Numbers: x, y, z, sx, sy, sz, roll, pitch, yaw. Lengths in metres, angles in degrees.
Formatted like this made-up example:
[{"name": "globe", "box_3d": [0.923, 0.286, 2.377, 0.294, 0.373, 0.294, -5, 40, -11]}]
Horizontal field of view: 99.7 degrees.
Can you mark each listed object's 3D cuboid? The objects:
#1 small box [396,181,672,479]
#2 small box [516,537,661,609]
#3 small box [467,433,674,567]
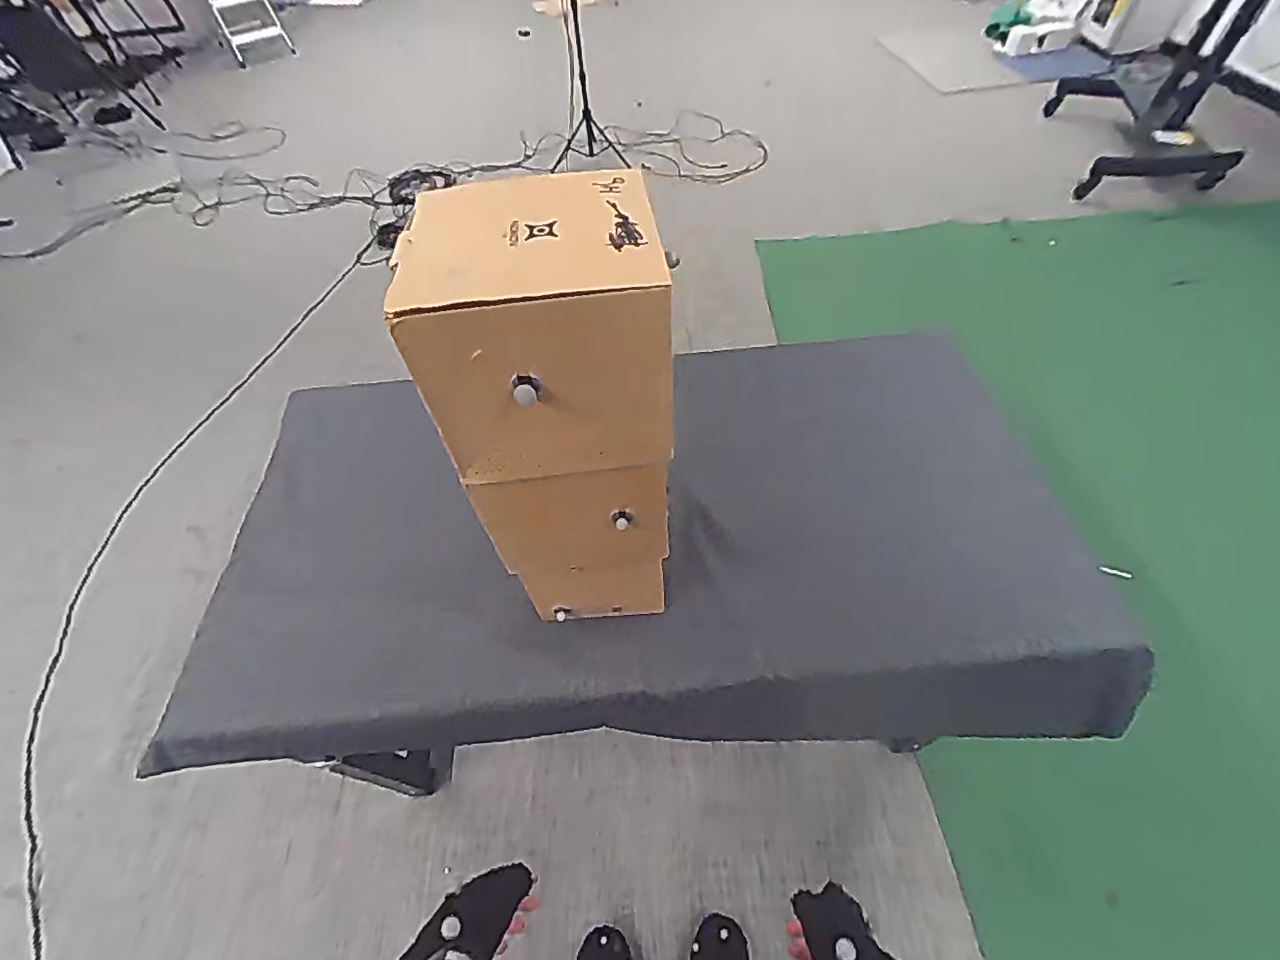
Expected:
[{"name": "small box", "box_3d": [-0.071, -0.117, 0.444, 0.179, 0.176, 0.168, -8, 51, -4]}, {"name": "small box", "box_3d": [-0.060, 0.061, 0.714, 0.168, 0.176, 0.179, -4, 53, 1]}, {"name": "small box", "box_3d": [-0.066, -0.028, 0.559, 0.179, 0.176, 0.168, -8, 53, -4]}]
